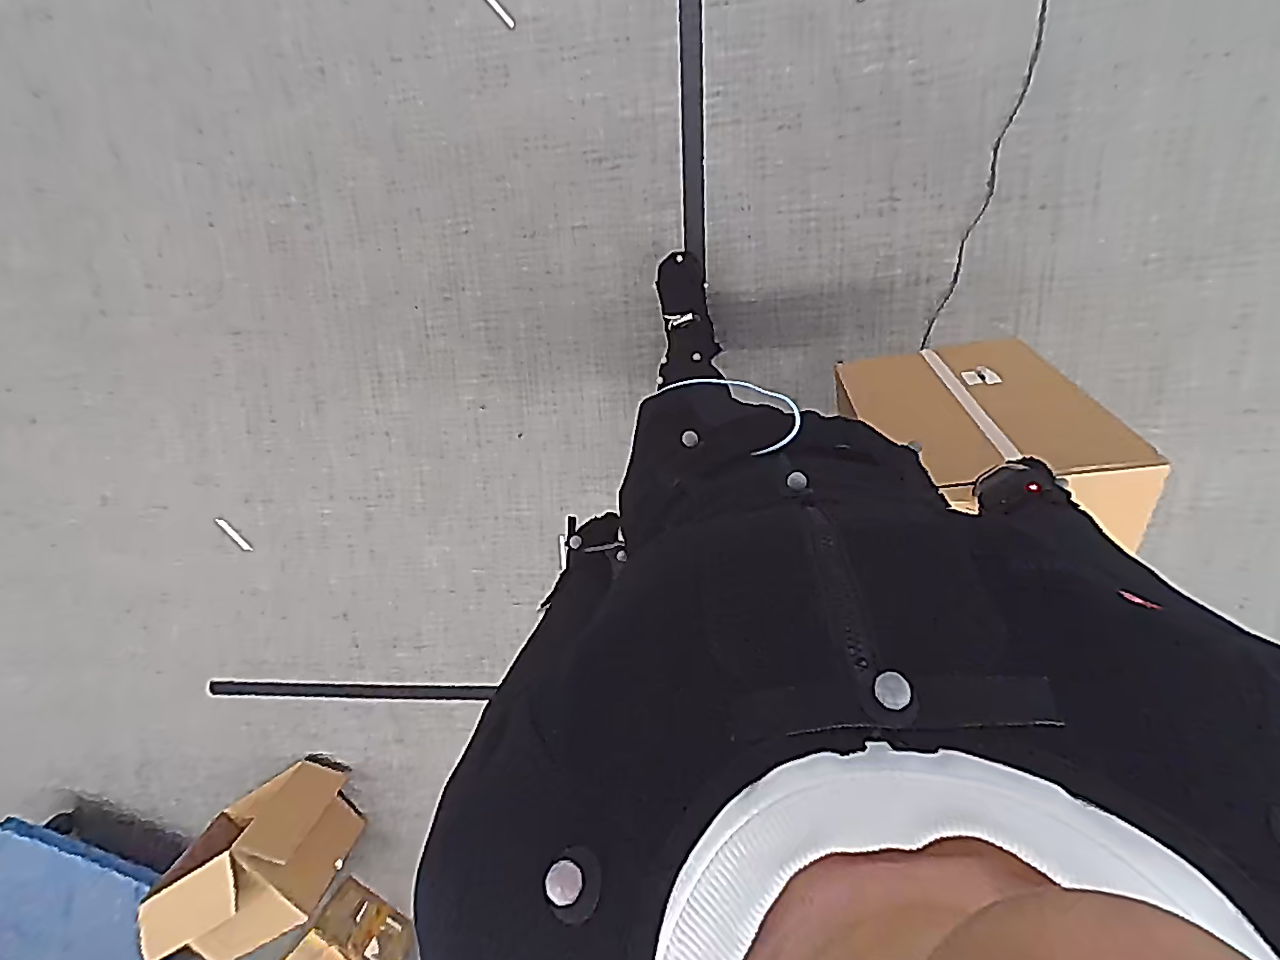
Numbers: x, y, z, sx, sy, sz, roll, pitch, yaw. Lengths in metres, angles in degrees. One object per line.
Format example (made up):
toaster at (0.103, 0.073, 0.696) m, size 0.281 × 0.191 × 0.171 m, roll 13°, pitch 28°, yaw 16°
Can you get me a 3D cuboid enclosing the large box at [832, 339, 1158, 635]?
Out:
large box at (0.531, 0.000, 0.921) m, size 0.320 × 0.408 × 0.320 m, roll -7°, pitch 124°, yaw 11°
